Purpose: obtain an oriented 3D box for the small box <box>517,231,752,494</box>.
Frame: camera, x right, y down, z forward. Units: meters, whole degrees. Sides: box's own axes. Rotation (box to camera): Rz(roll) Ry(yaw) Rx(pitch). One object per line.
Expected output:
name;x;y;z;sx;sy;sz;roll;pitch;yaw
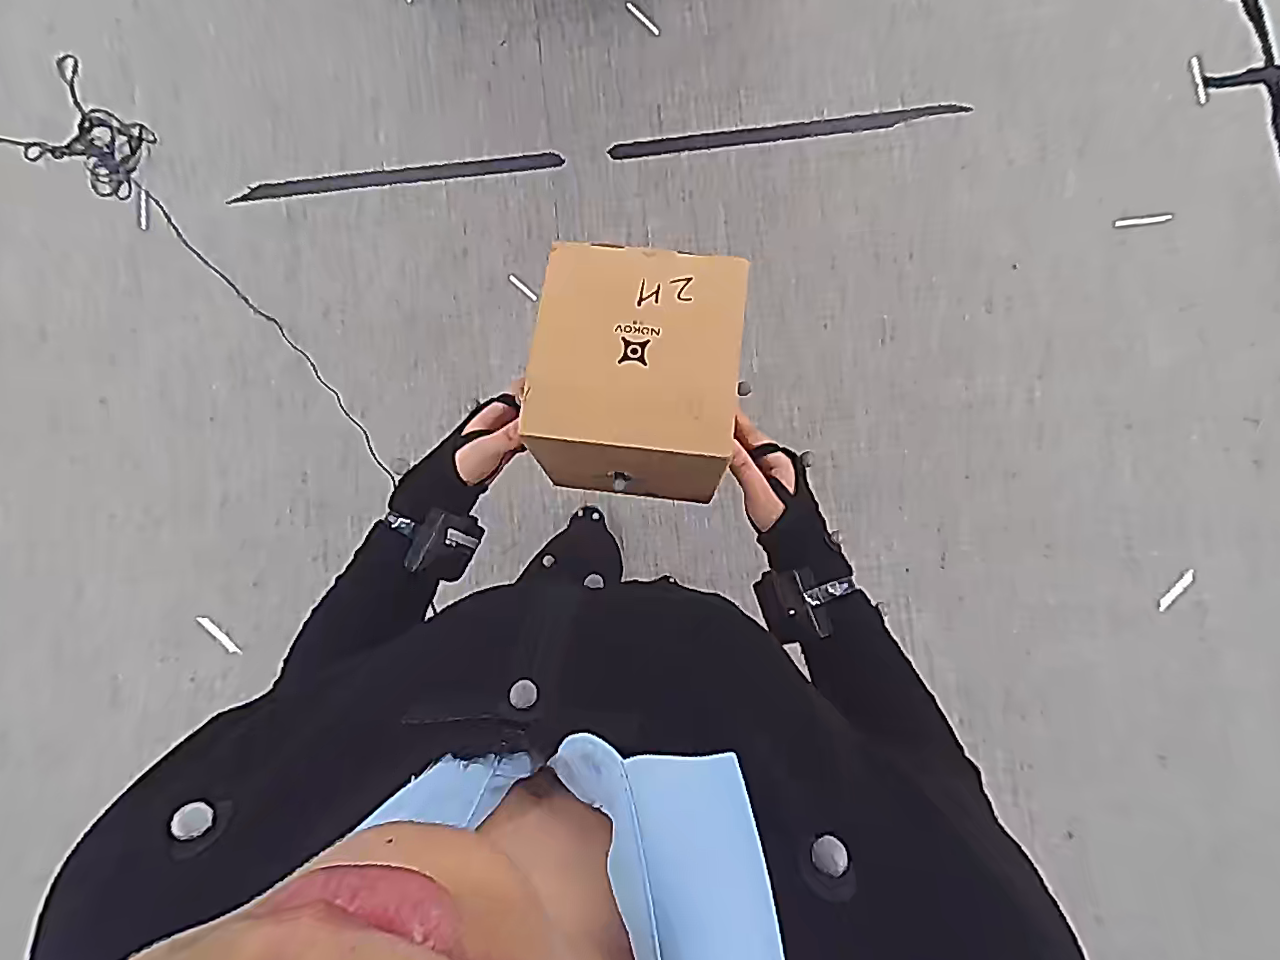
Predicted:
small box;0.001;-0.093;0.497;0.168;0.176;0.179;7;75;3
